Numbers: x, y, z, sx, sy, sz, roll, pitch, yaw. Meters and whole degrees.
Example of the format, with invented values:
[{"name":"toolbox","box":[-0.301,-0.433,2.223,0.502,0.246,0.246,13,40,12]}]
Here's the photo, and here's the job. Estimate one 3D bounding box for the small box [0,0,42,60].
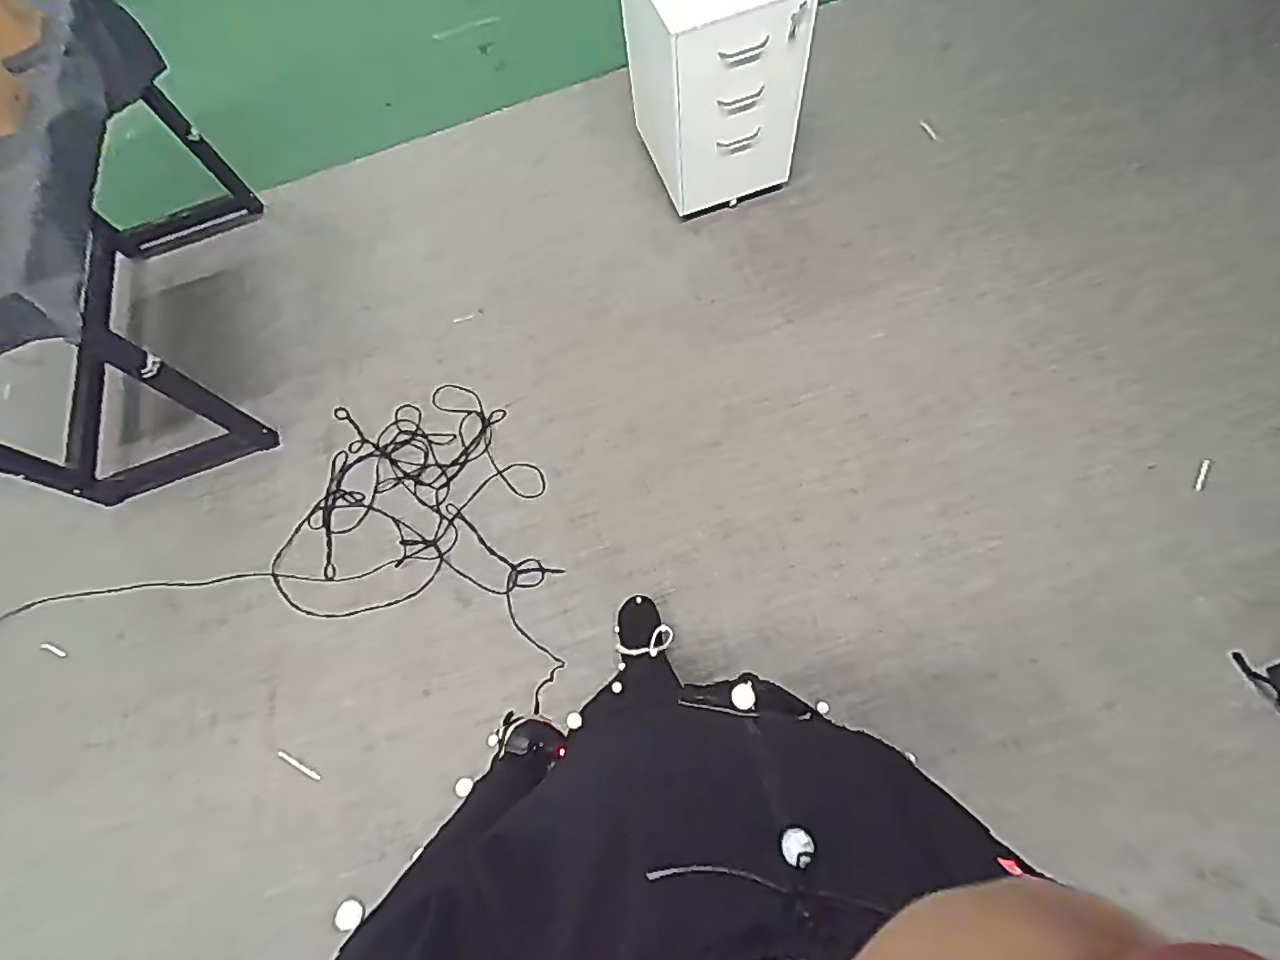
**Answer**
[{"name":"small box","box":[-1.686,-1.184,1.360,0.179,0.176,0.168,-24,67,-3]}]
